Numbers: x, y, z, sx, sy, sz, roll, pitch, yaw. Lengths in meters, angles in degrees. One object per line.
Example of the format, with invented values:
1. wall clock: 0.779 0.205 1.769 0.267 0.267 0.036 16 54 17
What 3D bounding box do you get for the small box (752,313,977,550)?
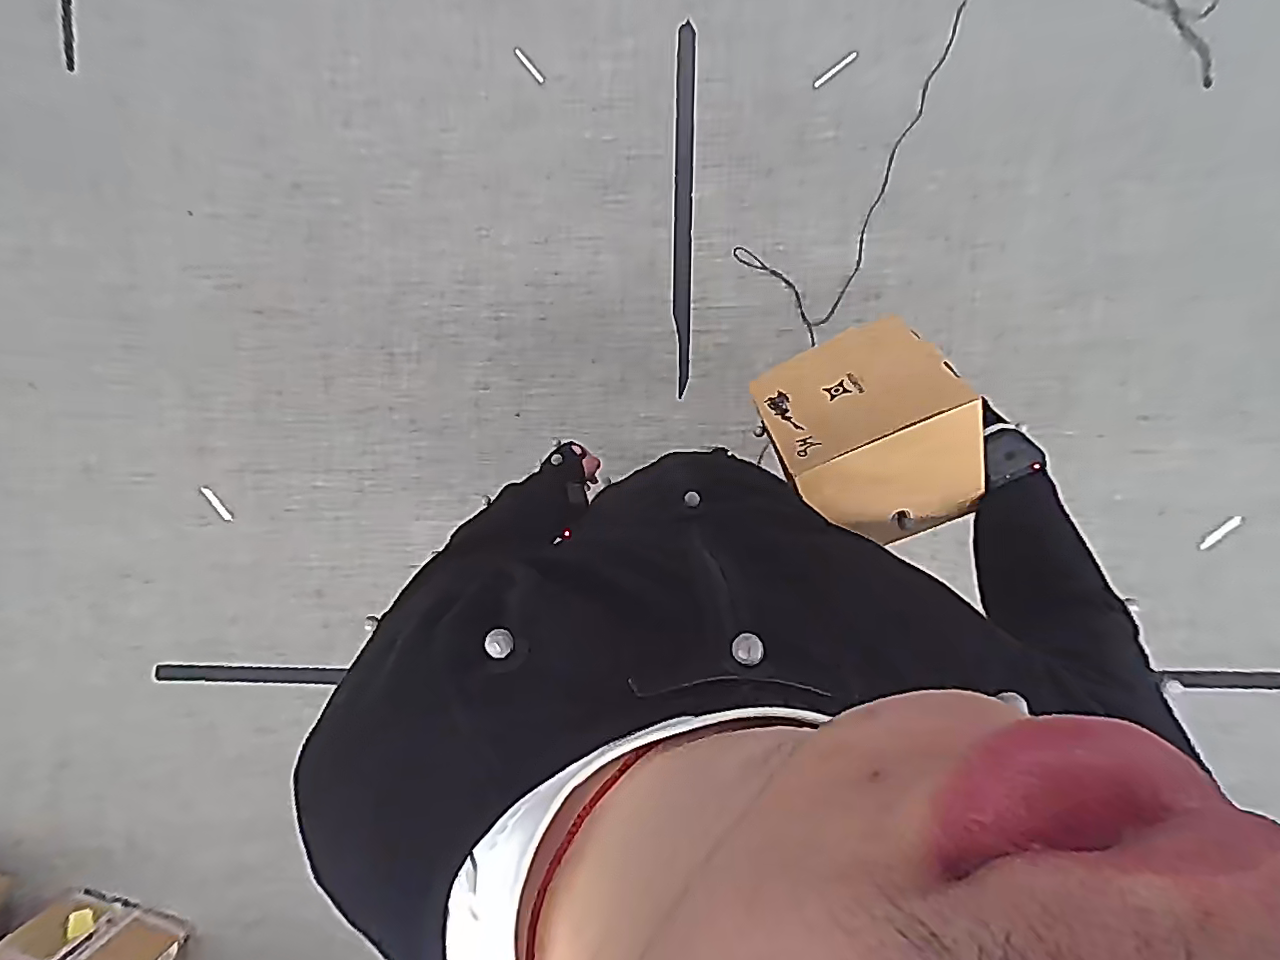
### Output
1. small box: 0.252 -0.050 0.618 0.179 0.168 0.176 -24 132 12
